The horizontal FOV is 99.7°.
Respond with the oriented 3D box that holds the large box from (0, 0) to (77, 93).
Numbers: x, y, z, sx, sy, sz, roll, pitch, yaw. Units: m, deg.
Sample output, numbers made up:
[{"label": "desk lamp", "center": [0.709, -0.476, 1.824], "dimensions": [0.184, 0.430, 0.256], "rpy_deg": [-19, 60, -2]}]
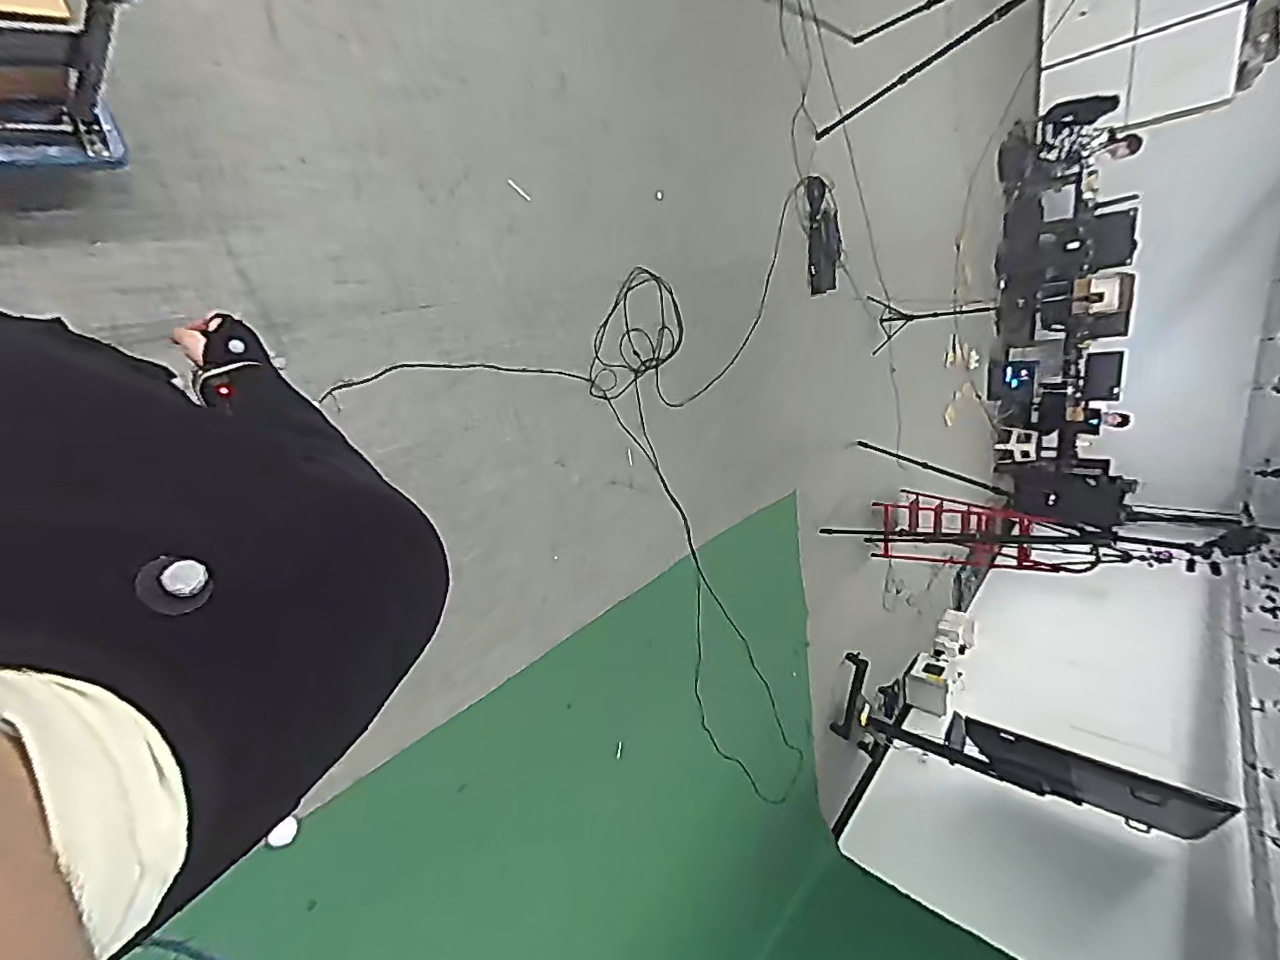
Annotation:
[{"label": "large box", "center": [-1.075, -0.805, 0.724], "dimensions": [0.320, 0.320, 0.408], "rpy_deg": [-32, 117, -39]}]
